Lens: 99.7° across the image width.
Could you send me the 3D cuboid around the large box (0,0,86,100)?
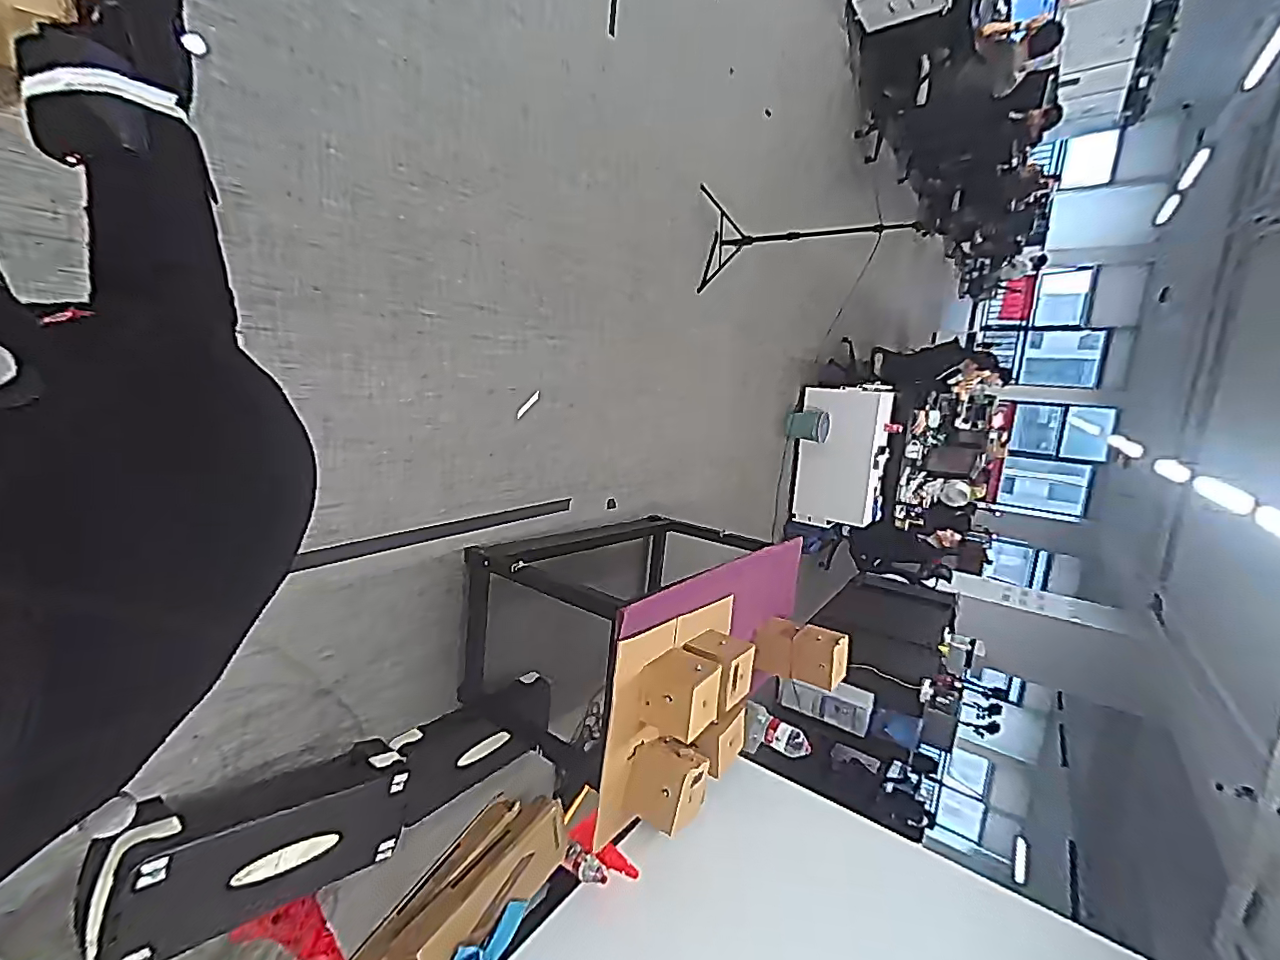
[{"bbox_3d":[-0.594,-0.422,0.242,0.408,0.320,0.320,-17,123,-54],"label":"large box"}]
